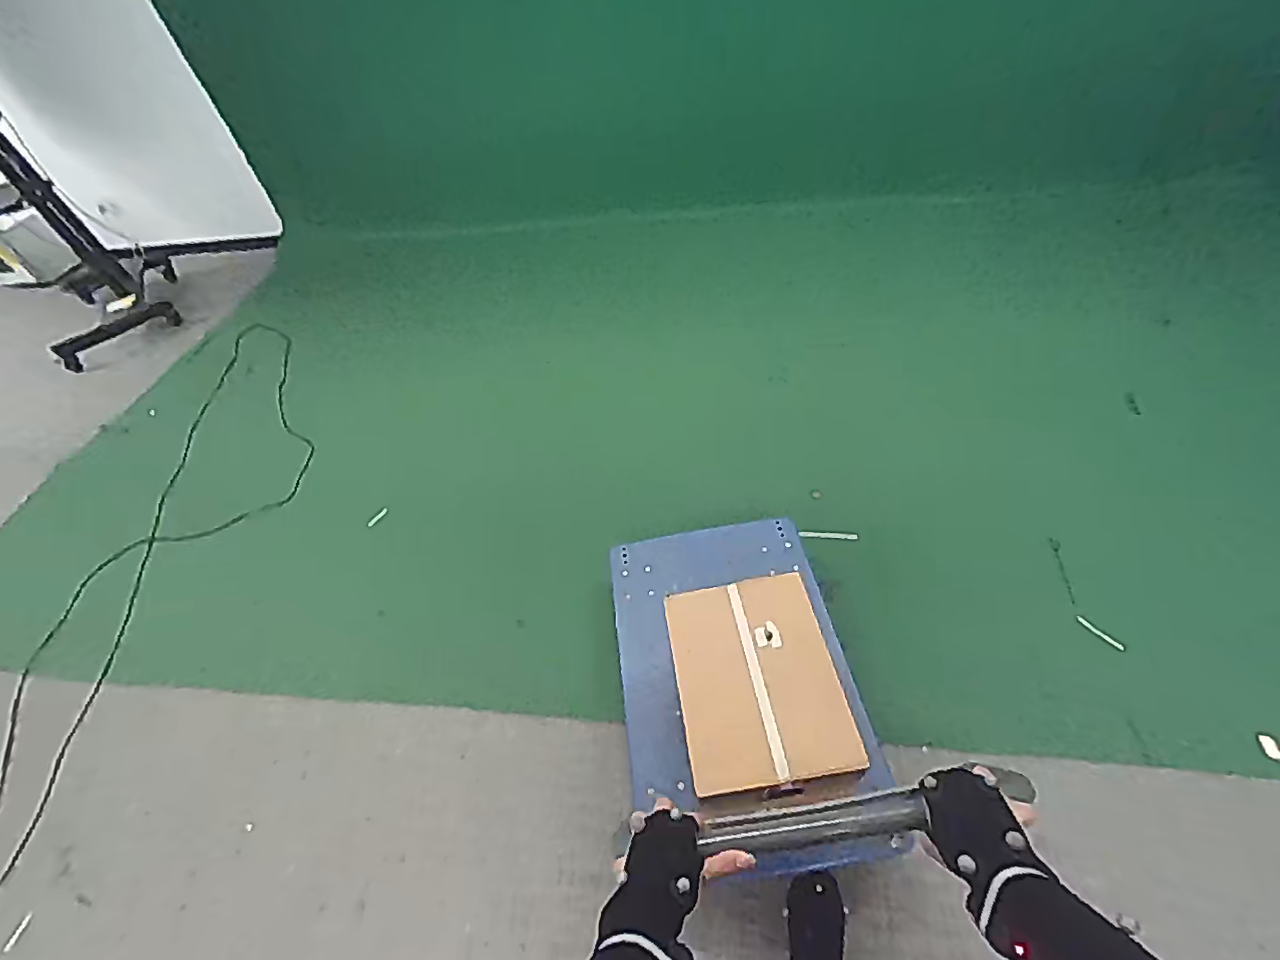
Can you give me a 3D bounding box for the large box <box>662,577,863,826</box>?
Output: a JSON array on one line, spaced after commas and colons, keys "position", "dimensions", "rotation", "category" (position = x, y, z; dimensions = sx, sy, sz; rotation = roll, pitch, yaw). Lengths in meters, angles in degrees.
[{"position": [0.247, 0.491, 1.205], "dimensions": [0.320, 0.320, 0.408], "rotation": [-10, 48, 1], "category": "large box"}]
